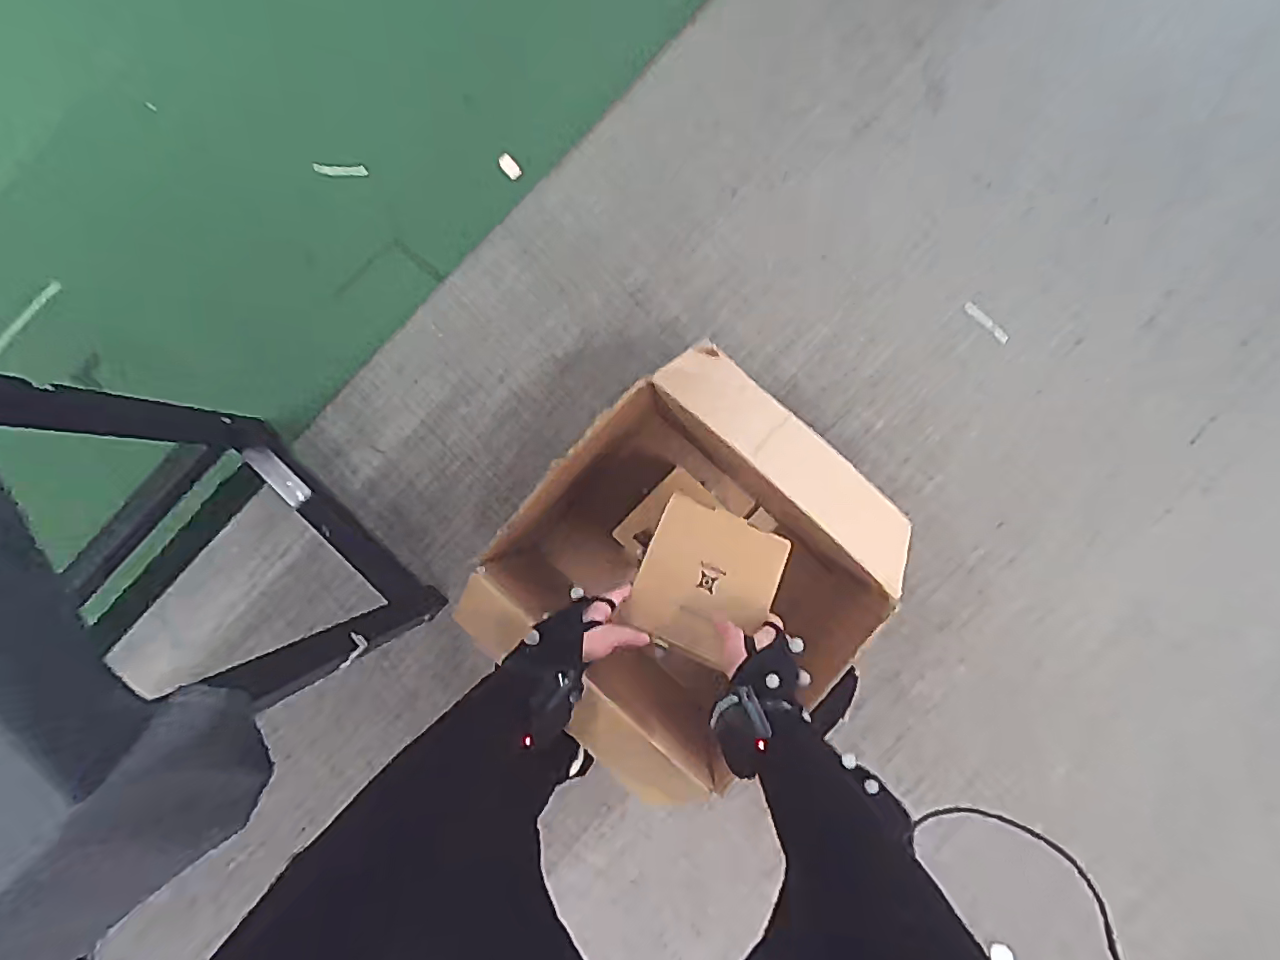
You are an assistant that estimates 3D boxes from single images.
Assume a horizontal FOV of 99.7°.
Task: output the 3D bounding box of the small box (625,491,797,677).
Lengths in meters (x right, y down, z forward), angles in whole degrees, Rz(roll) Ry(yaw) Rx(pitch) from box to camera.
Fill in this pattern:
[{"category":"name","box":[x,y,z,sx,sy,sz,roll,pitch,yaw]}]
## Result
[{"category":"small box","box":[0.082,0.141,0.714,0.168,0.176,0.179,21,72,4]}]
